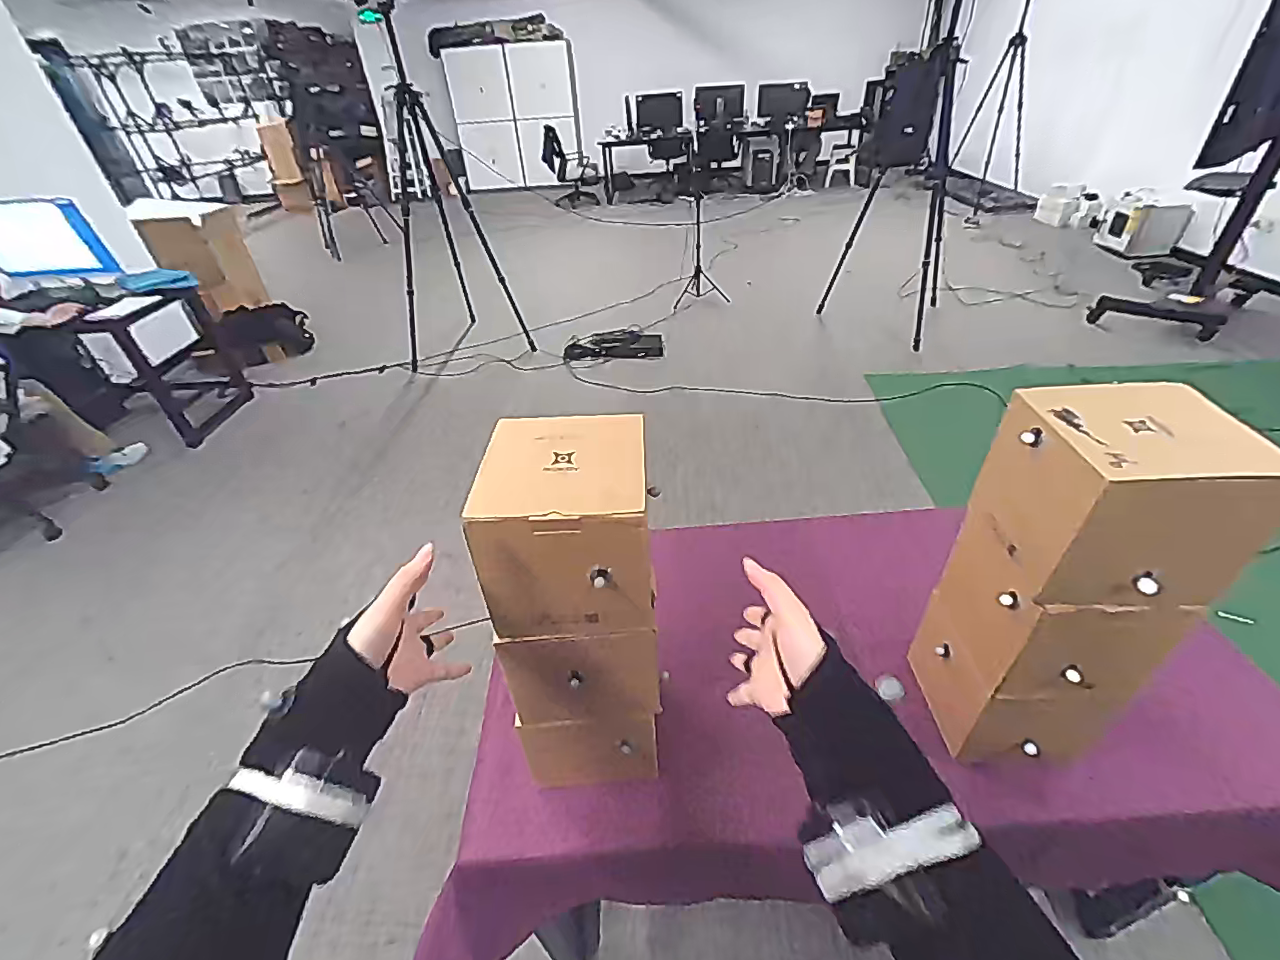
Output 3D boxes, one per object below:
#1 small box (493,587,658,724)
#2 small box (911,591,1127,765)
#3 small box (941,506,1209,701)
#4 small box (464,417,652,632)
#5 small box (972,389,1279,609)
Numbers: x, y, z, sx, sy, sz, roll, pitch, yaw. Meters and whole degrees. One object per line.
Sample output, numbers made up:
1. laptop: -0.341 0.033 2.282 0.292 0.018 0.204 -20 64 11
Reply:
1. small box: -0.070 0.183 0.679 0.179 0.176 0.168 -5 37 -1
2. small box: 0.513 0.277 0.769 0.168 0.176 0.179 -3 38 3
3. small box: 0.506 0.148 0.670 0.168 0.176 0.179 -2 38 3
4. small box: -0.072 0.049 0.586 0.168 0.176 0.179 -1 37 1
5. small box: 0.494 0.020 0.568 0.179 0.176 0.168 0 38 4
